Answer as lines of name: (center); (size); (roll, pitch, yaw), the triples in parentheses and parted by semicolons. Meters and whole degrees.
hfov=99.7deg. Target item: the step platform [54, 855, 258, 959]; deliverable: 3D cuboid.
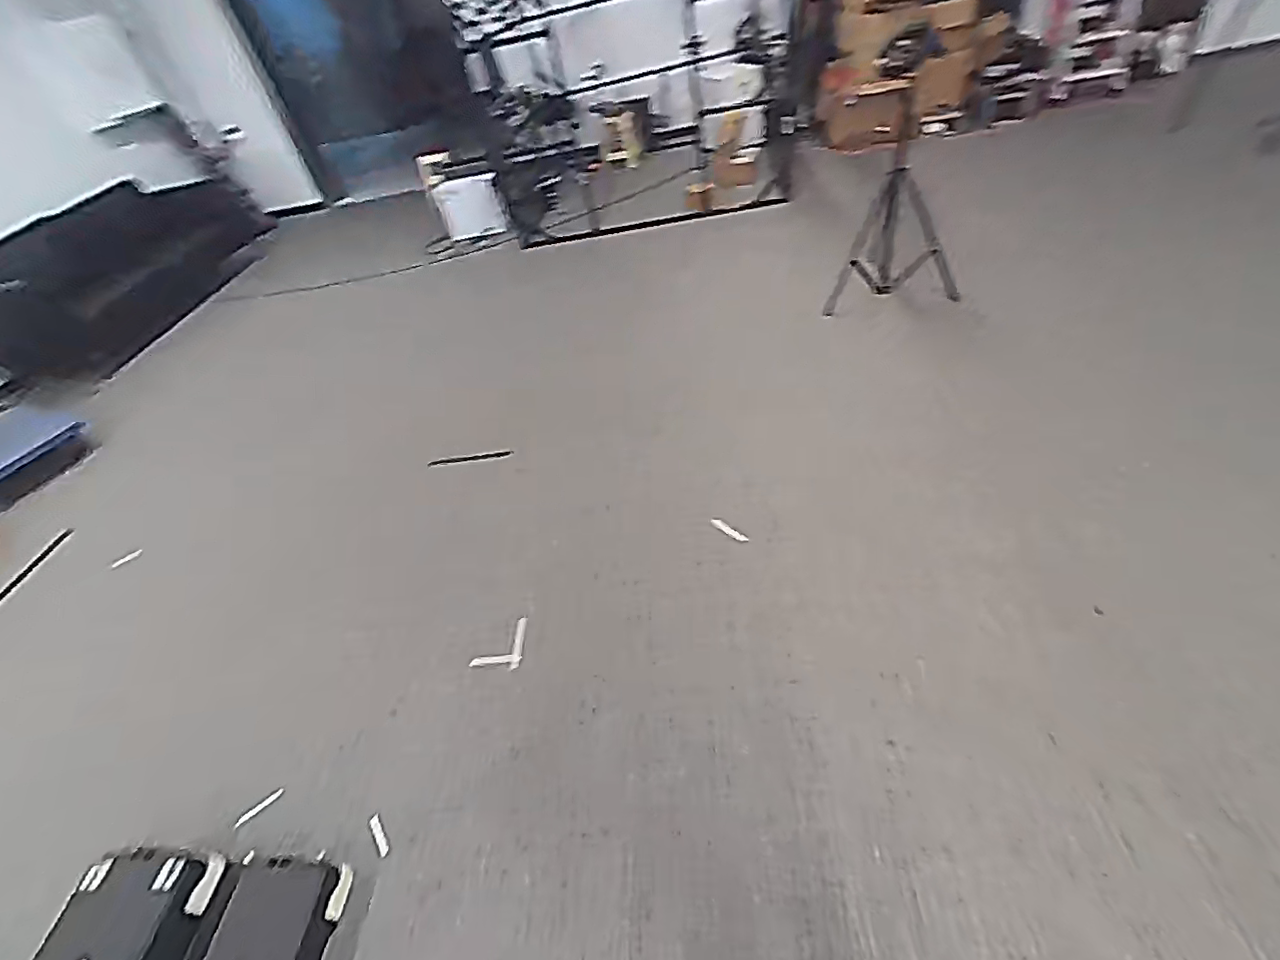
step platform: (-1.116, 1.175, 1.096); (0.286, 0.204, 0.684); (-6, 43, 8)
